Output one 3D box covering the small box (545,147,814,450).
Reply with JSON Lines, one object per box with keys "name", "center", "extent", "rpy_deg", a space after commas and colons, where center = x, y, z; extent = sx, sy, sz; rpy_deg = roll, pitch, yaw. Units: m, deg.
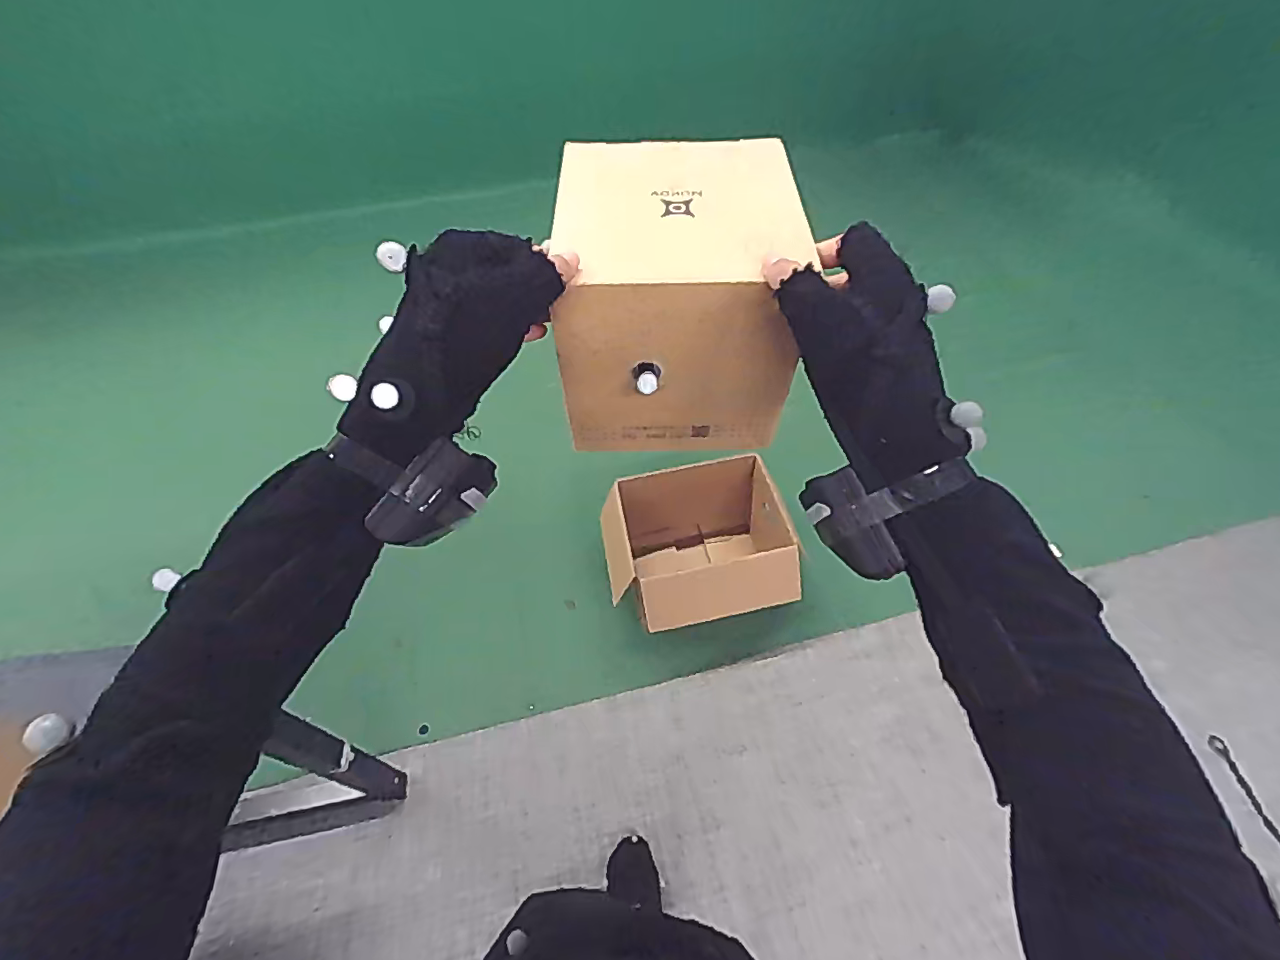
{"name": "small box", "center": [0.026, -0.136, 0.434], "extent": [0.168, 0.176, 0.179], "rpy_deg": [-1, 55, 0]}
